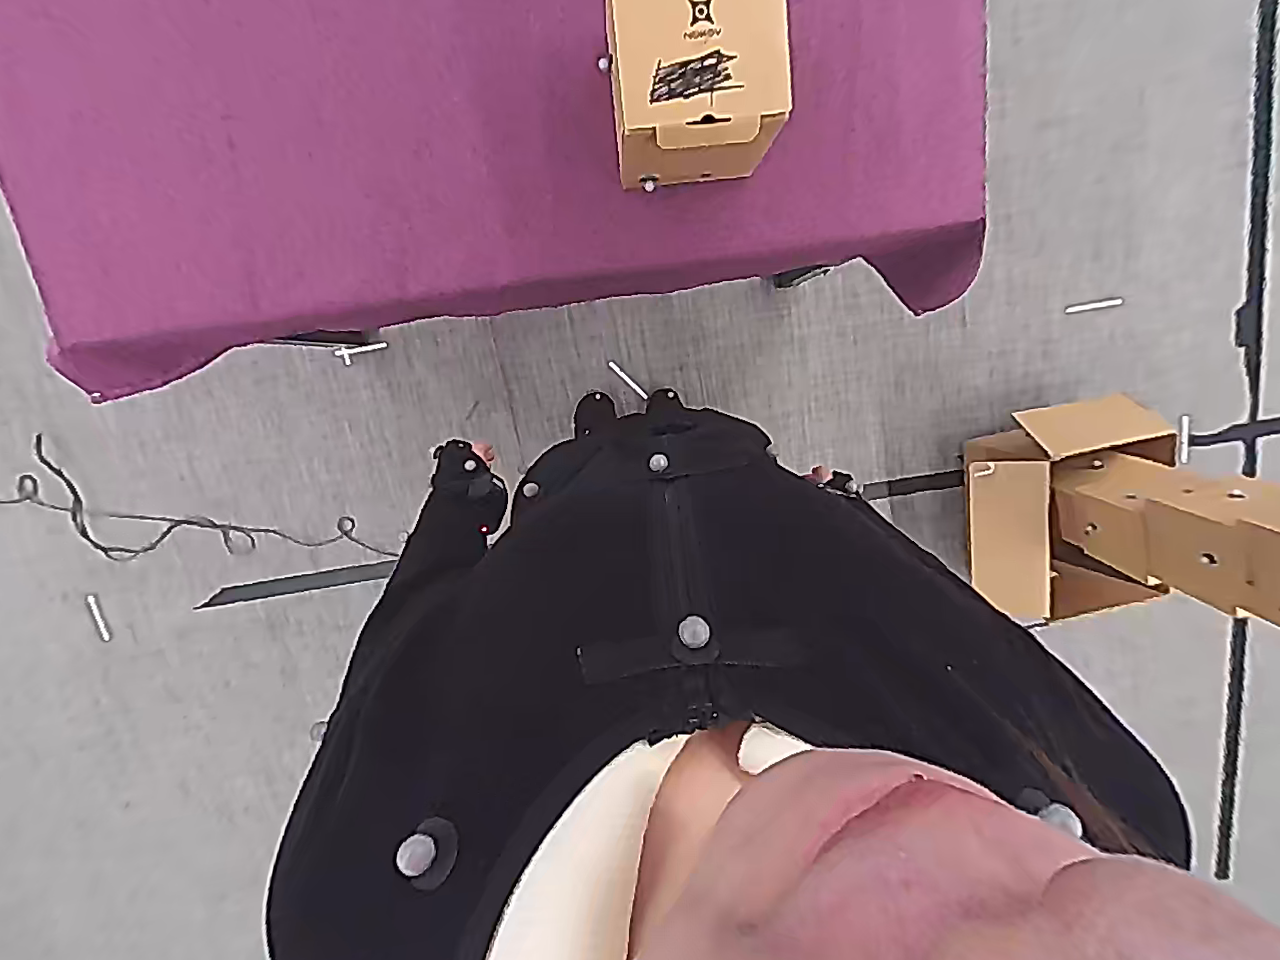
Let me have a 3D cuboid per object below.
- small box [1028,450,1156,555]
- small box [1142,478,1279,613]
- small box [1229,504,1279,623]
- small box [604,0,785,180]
[{"bbox_3d":[1.080,0.043,1.294,0.168,0.176,0.179,-30,105,7],"label":"small box"},{"bbox_3d":[1.055,0.107,0.971,0.168,0.176,0.179,-16,105,5],"label":"small box"},{"bbox_3d":[1.052,0.133,0.809,0.179,0.176,0.168,-15,106,4],"label":"small box"},{"bbox_3d":[0.051,-0.444,0.585,0.168,0.176,0.179,-6,101,-1],"label":"small box"}]
